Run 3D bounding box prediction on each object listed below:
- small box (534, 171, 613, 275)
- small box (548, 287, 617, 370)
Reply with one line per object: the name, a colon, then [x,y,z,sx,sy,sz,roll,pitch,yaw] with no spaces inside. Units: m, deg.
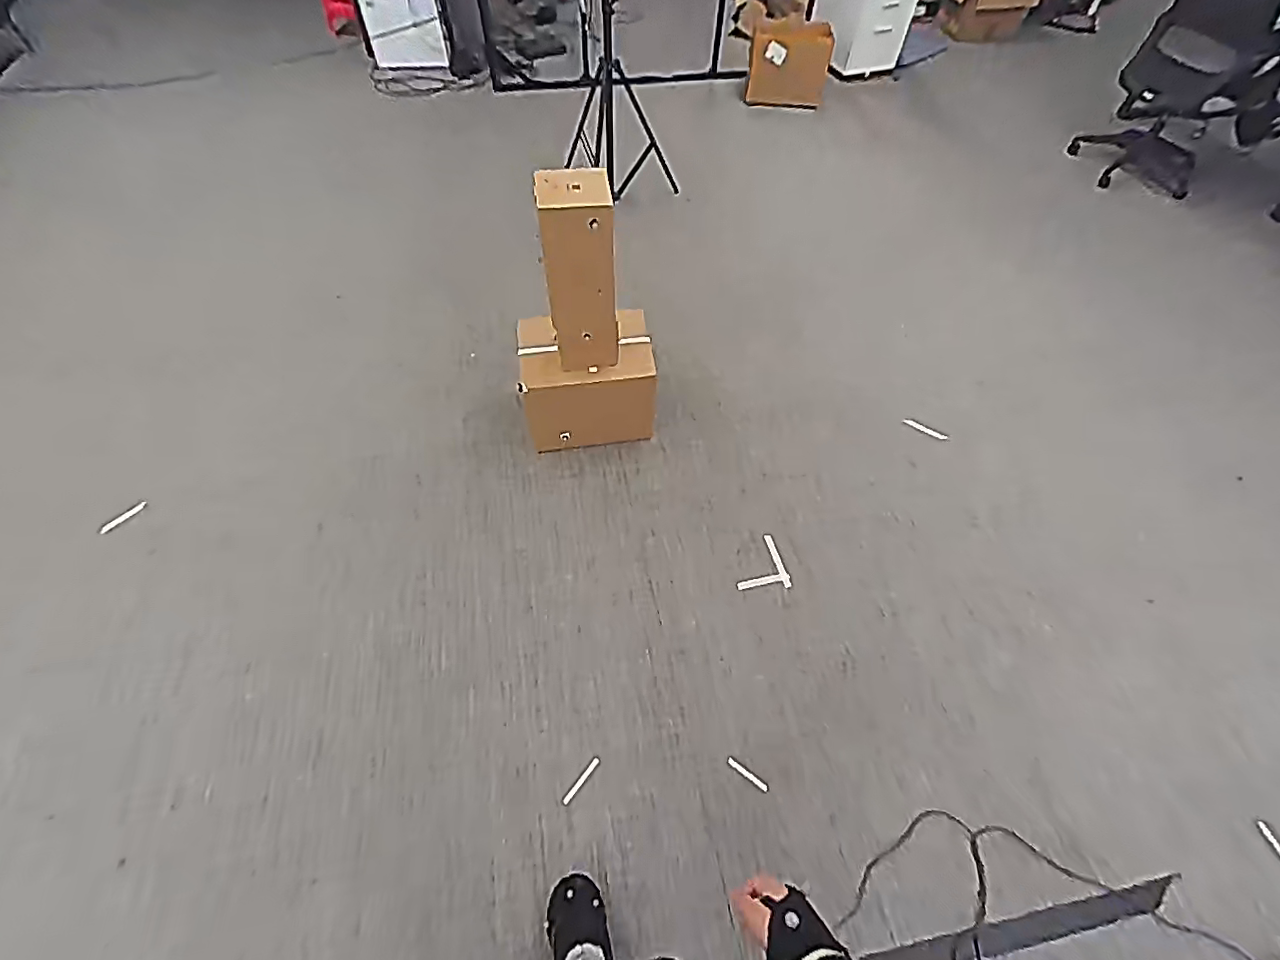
small box: [-0.160,-0.624,1.319,0.179,0.176,0.168,-6,57,-6]
small box: [-0.166,-0.441,1.593,0.179,0.176,0.168,-9,58,-9]
